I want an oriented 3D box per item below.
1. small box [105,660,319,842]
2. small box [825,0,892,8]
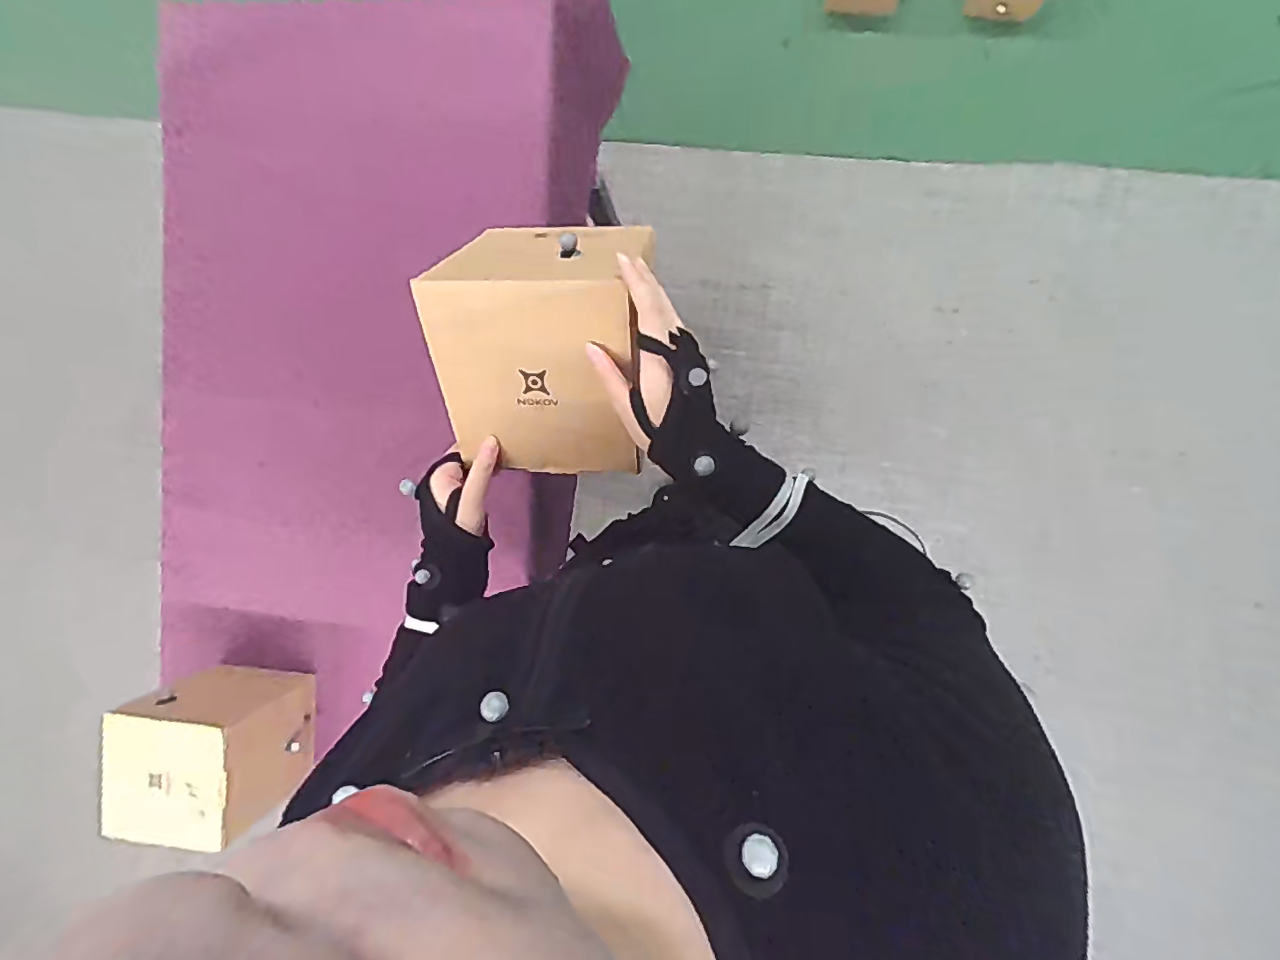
[{"bbox_3d":[-0.603,0.373,0.777,0.179,0.176,0.168,4,94,6],"label":"small box"},{"bbox_3d":[0.556,-1.274,1.286,0.179,0.176,0.168,9,94,7],"label":"small box"}]
